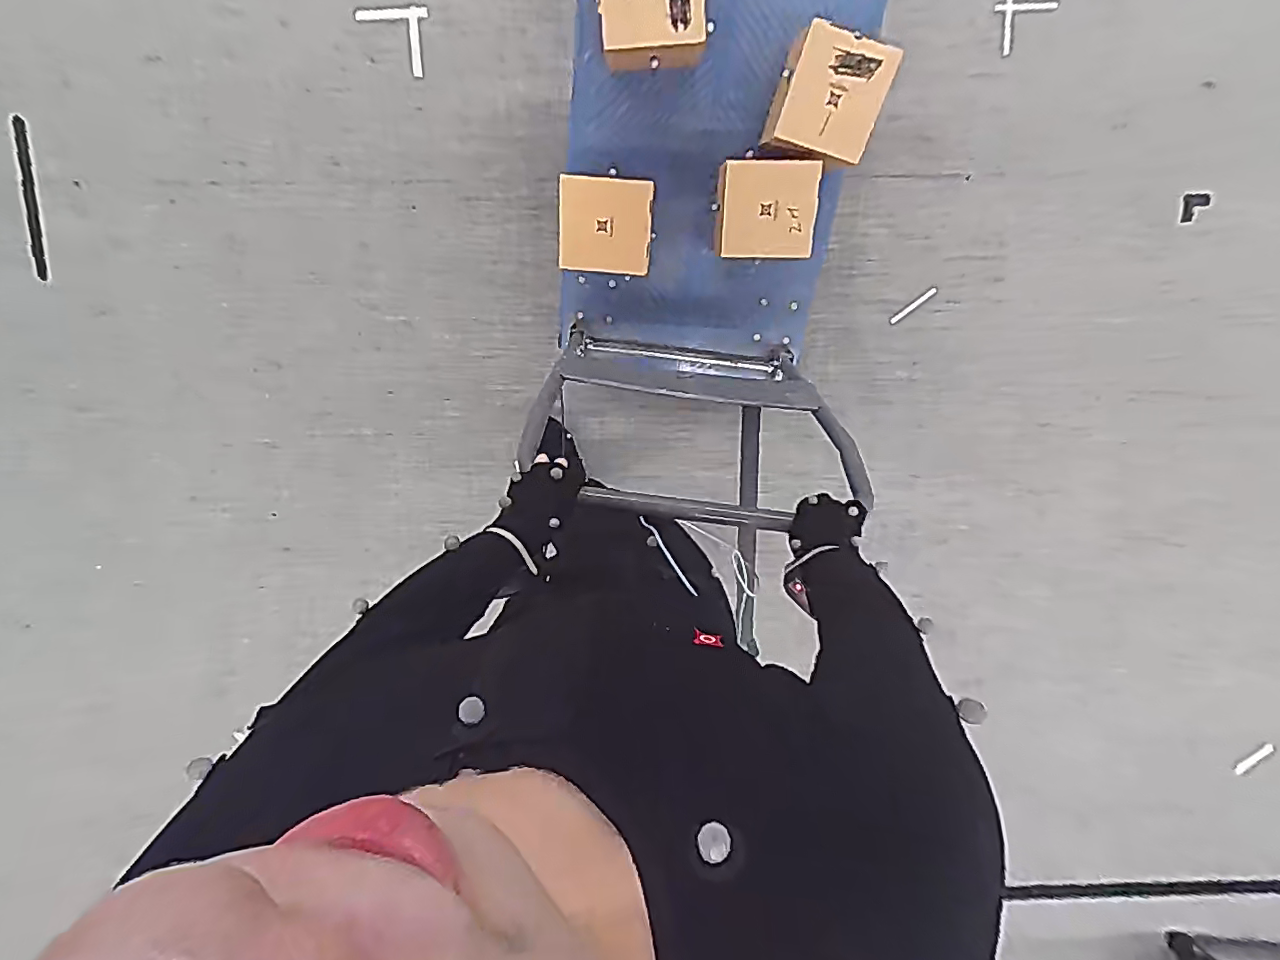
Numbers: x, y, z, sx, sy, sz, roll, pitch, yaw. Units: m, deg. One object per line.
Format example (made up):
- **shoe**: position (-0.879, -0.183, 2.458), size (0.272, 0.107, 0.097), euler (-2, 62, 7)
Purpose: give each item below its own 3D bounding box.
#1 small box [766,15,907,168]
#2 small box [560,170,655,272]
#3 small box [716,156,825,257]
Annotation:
- **small box**: position (0.345, -0.700, 0.997), size (0.168, 0.176, 0.179), euler (16, 117, -5)
- **small box**: position (-0.063, -0.524, 1.101), size (0.179, 0.176, 0.168), euler (4, 116, -1)
- **small box**: position (0.248, -0.541, 1.078), size (0.179, 0.176, 0.168), euler (2, 117, 2)
